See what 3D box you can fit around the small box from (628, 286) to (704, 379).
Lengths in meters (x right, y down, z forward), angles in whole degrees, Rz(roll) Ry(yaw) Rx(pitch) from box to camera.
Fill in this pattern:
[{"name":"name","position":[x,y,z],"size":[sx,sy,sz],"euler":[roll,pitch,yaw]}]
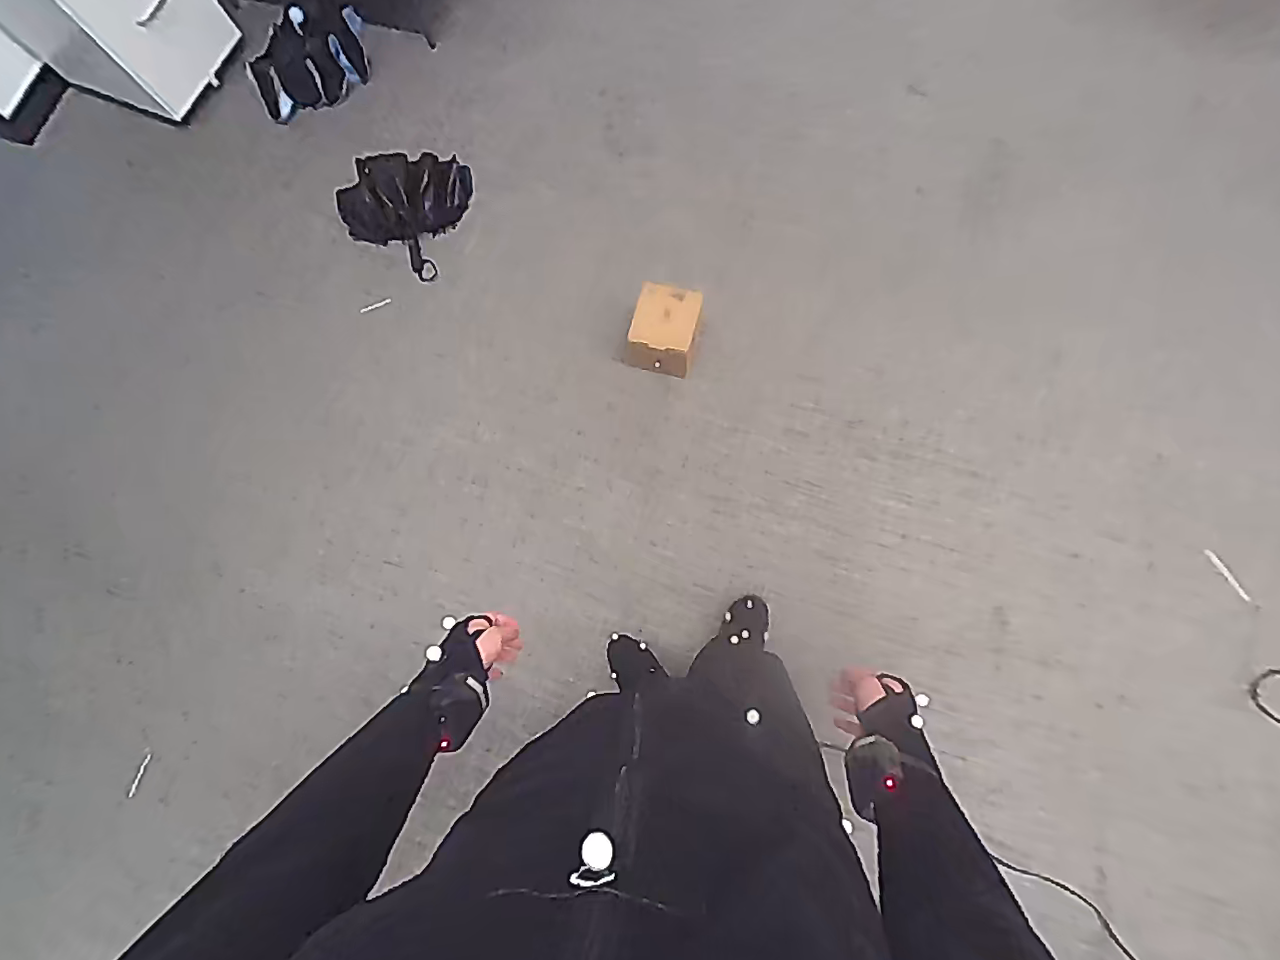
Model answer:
[{"name":"small box","position":[0.075,-0.399,1.491],"size":[0.168,0.176,0.179],"euler":[15,78,8]}]
